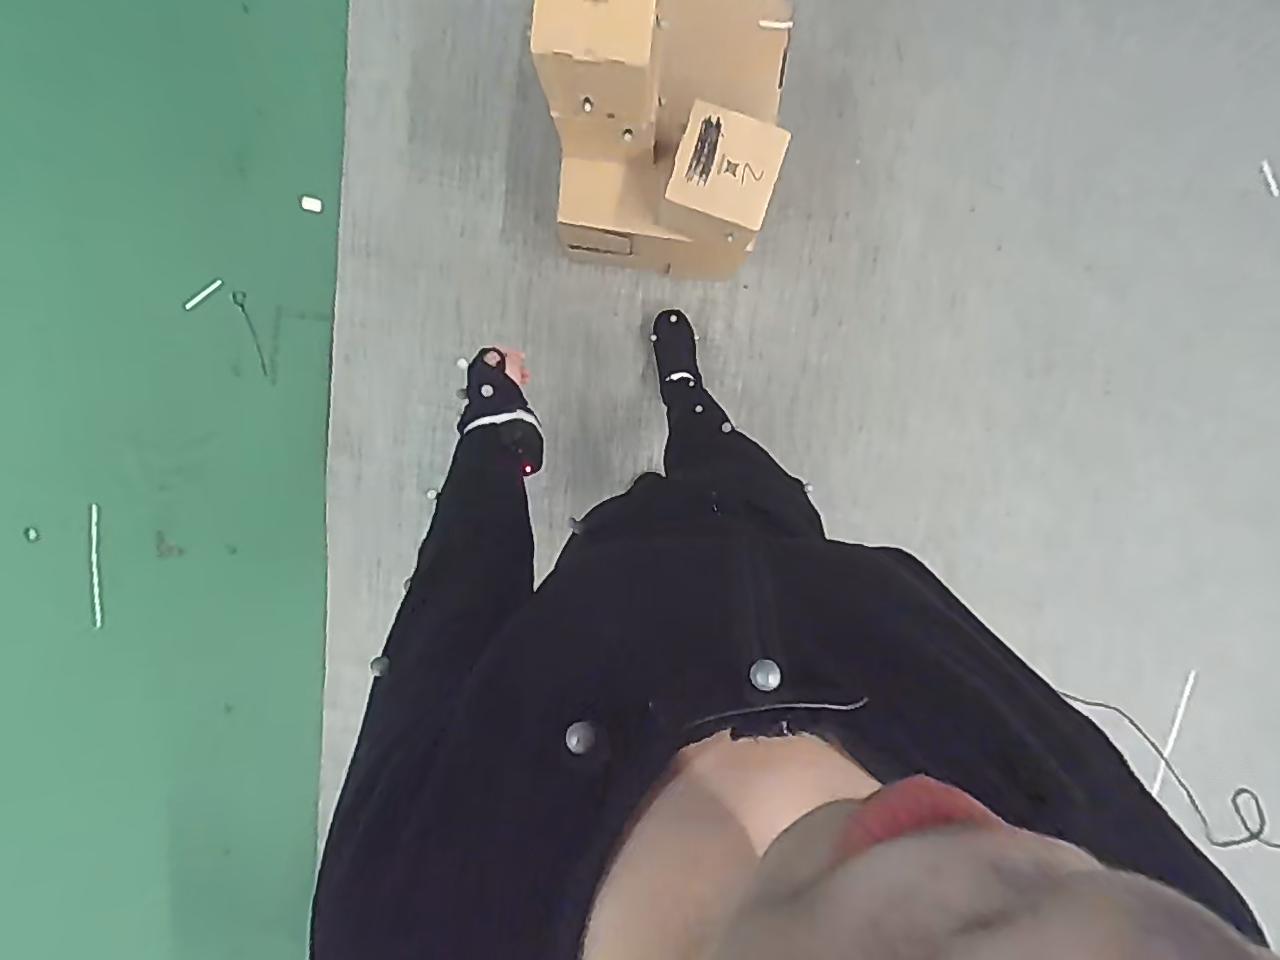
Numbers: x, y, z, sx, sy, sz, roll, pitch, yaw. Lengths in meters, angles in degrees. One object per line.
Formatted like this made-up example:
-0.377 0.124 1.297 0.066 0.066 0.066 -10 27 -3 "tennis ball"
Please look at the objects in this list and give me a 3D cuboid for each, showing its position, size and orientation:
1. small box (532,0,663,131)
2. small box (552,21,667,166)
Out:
-0.056 -0.666 0.809 0.168 0.176 0.179 8 98 -1 "small box"
-0.051 -0.689 0.970 0.179 0.176 0.168 7 97 0 "small box"
